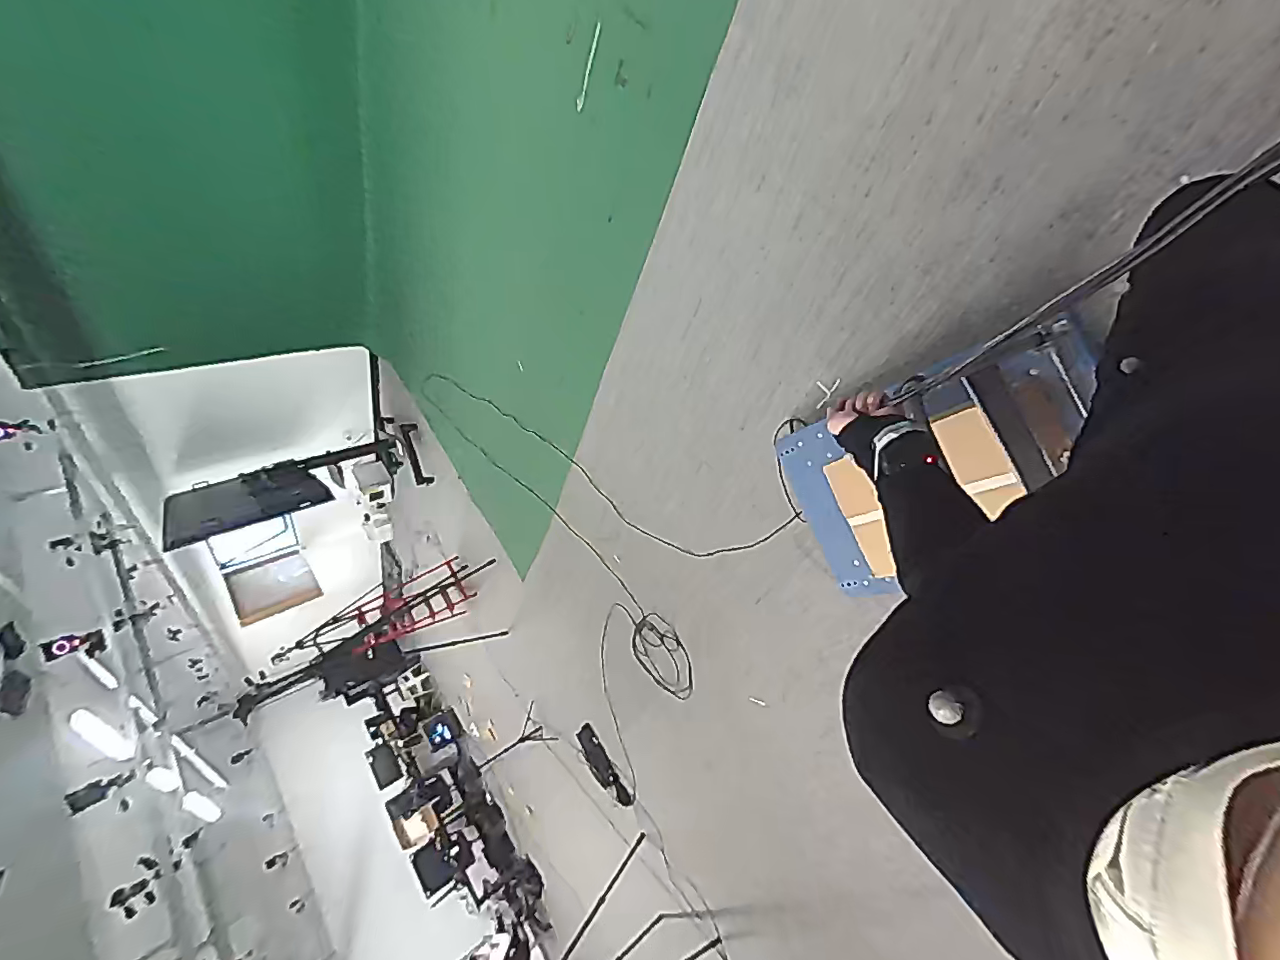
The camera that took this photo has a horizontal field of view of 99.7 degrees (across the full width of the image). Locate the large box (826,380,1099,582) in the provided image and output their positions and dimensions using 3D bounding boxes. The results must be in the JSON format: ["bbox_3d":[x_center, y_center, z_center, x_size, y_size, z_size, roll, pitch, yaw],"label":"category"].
[{"bbox_3d":[0.740,0.011,1.273,0.408,0.320,0.320,-30,82,54],"label":"large box"}]
